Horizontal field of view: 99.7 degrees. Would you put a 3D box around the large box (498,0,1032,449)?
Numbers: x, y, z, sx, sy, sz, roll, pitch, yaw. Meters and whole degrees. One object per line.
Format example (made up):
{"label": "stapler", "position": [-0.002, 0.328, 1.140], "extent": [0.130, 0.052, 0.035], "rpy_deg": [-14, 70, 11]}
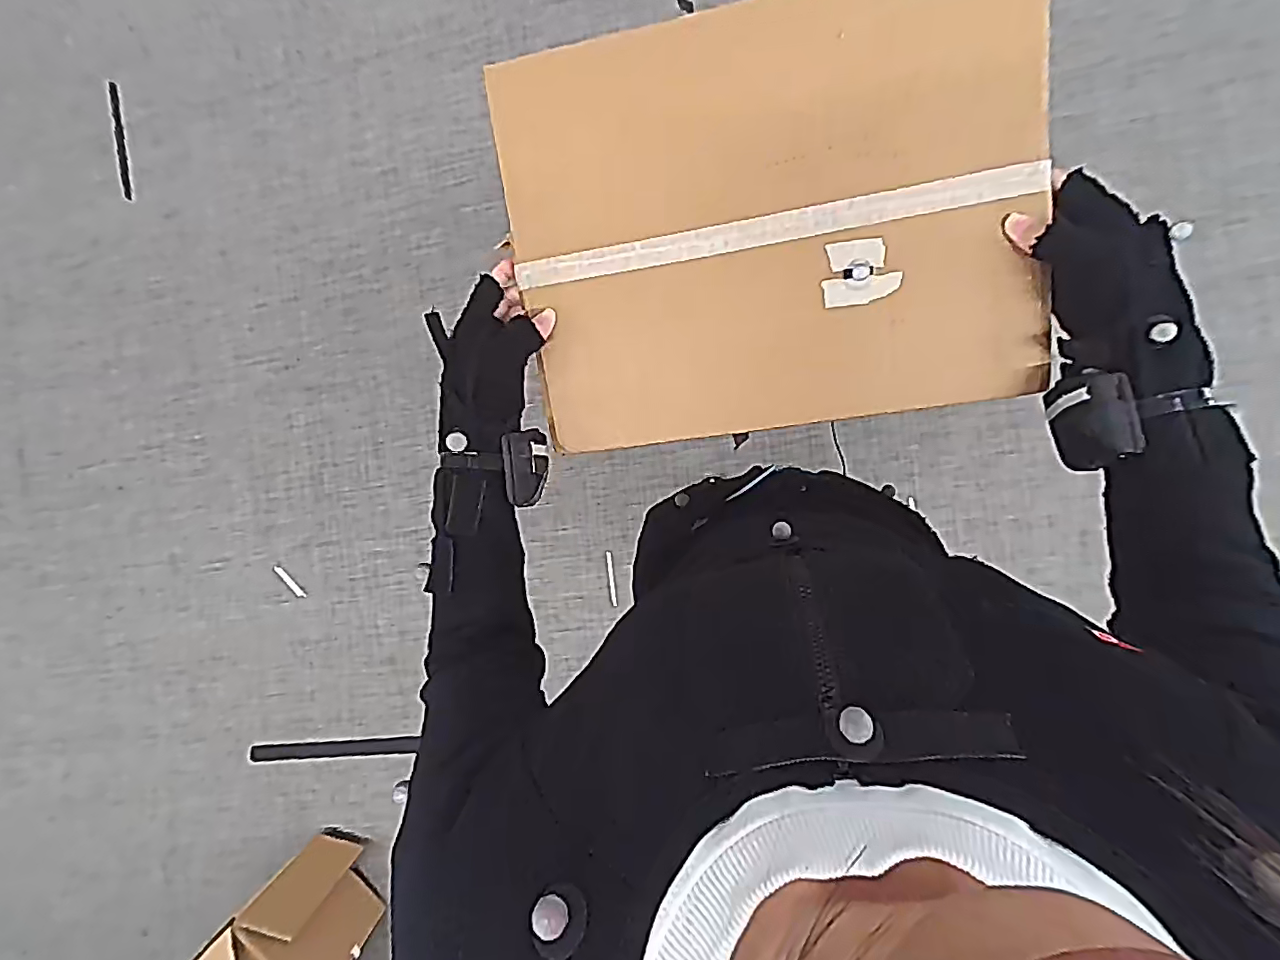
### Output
{"label": "large box", "position": [0.117, -0.233, 0.584], "extent": [0.408, 0.320, 0.320], "rpy_deg": [-7, 102, 9]}
